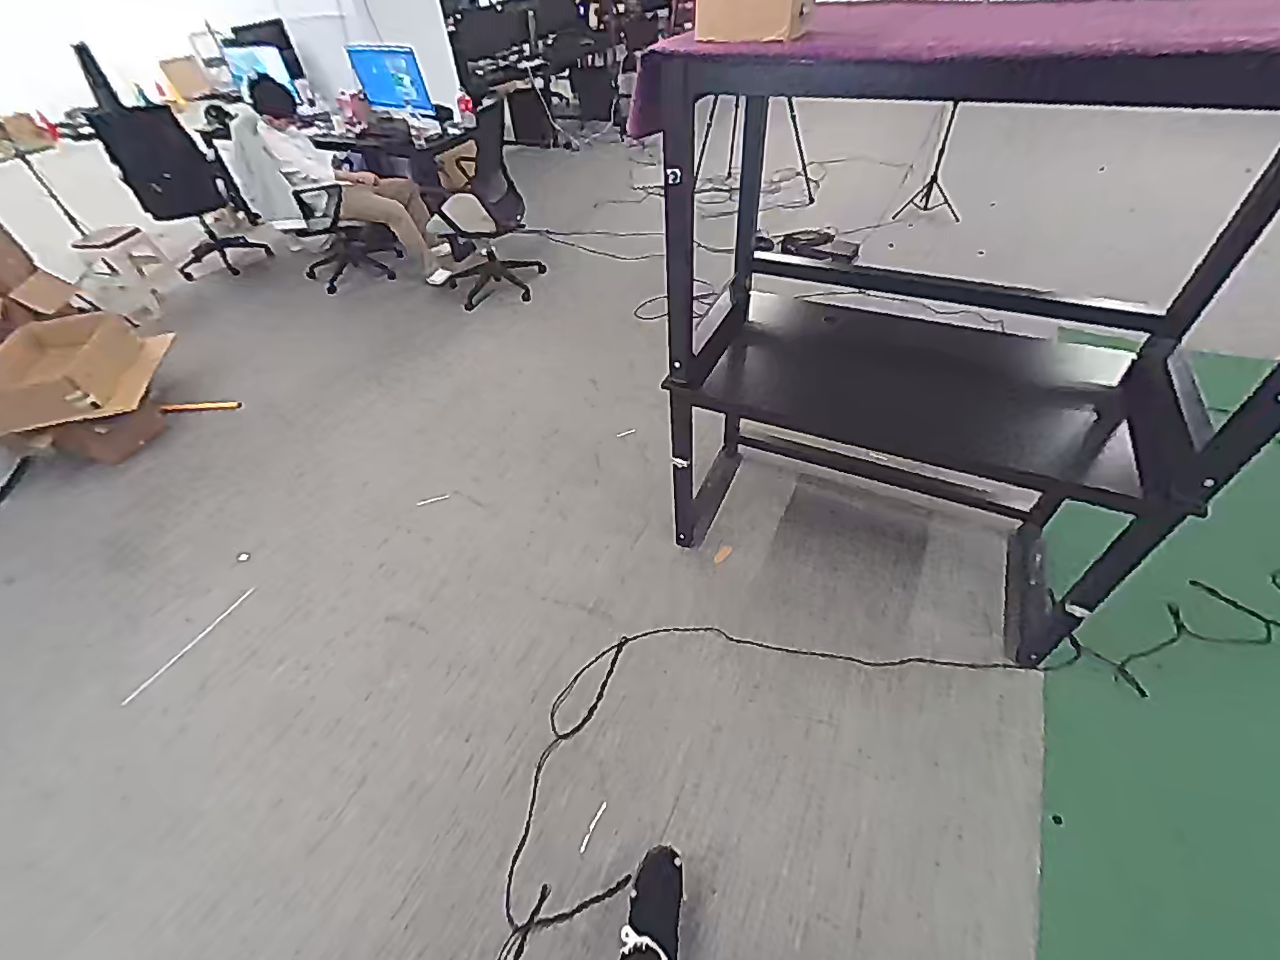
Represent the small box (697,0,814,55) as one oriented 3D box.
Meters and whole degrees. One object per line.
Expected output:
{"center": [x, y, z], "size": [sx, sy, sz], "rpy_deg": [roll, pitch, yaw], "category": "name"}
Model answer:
{"center": [0.208, -0.874, 0.966], "size": [0.179, 0.176, 0.168], "rpy_deg": [17, 49, 20], "category": "small box"}
